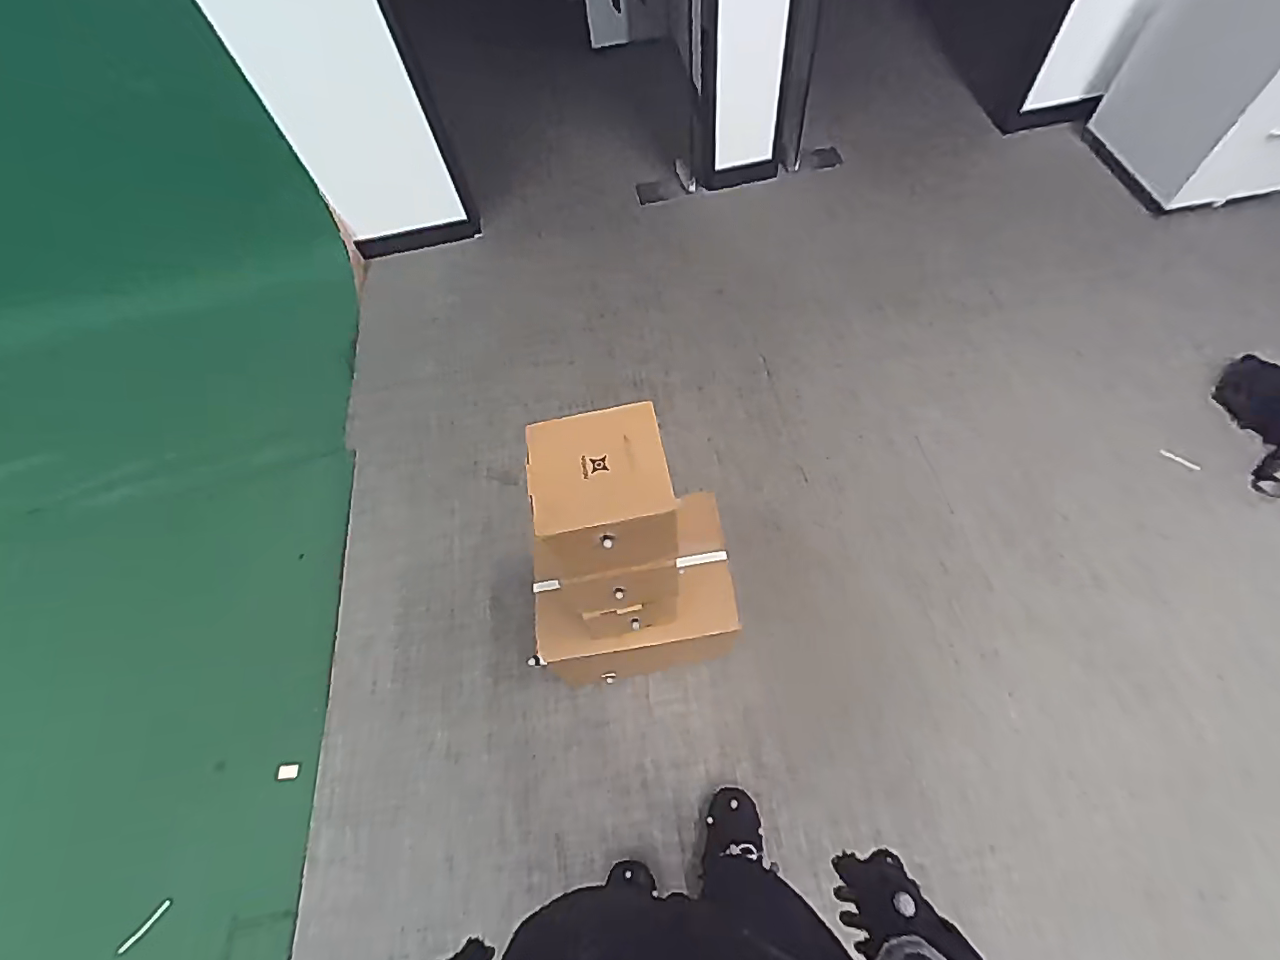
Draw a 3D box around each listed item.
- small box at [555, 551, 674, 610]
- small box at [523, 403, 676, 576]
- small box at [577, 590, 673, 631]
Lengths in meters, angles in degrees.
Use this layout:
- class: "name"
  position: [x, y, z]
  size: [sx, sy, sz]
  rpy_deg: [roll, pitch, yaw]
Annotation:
- class: "small box"
  position: [-0.041, 0.104, 0.890]
  size: [0.179, 0.176, 0.168]
  rpy_deg: [-11, 61, 1]
- class: "small box"
  position: [-0.050, 0.021, 0.751]
  size: [0.179, 0.176, 0.168]
  rpy_deg: [-11, 63, -1]
- class: "small box"
  position: [-0.034, 0.181, 1.036]
  size: [0.168, 0.176, 0.179]
  rpy_deg: [-13, 63, -1]
